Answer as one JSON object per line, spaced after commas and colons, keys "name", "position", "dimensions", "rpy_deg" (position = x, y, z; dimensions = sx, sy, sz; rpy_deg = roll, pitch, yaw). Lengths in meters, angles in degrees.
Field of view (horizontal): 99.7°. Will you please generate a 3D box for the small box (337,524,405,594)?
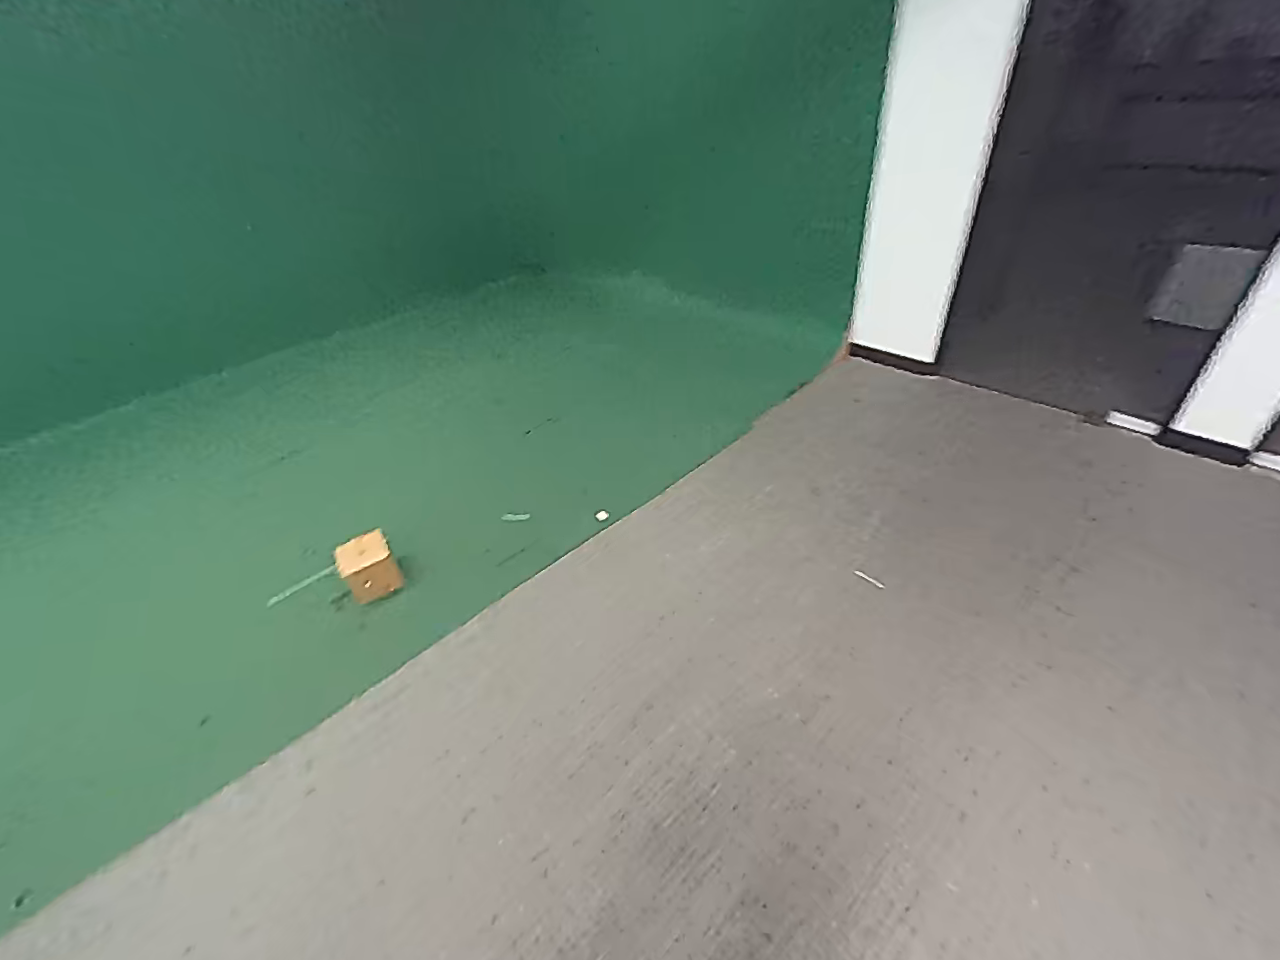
{"name": "small box", "position": [-1.007, 0.304, 2.033], "dimensions": [0.168, 0.176, 0.179], "rpy_deg": [-26, 43, -23]}
